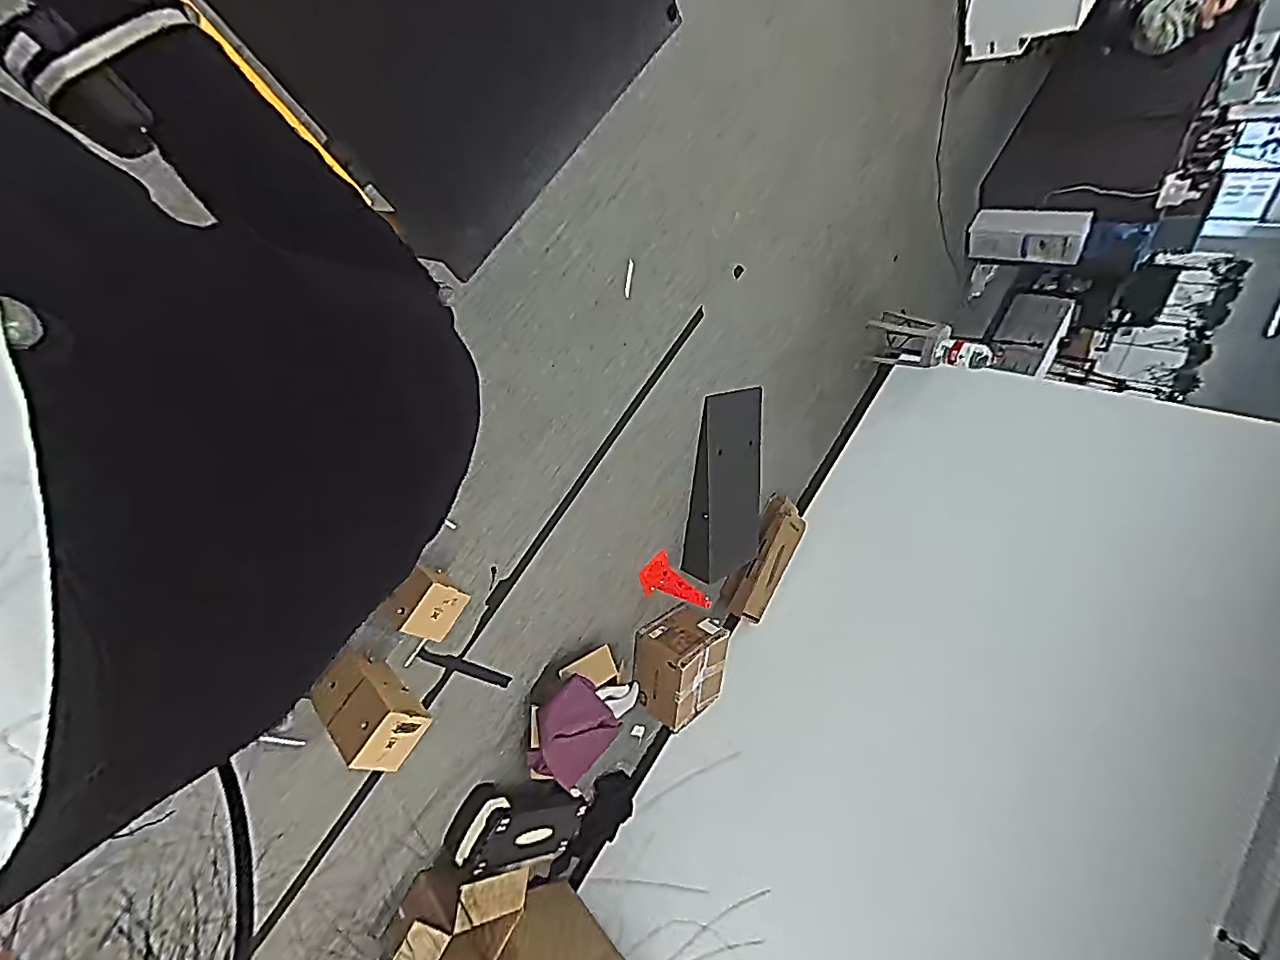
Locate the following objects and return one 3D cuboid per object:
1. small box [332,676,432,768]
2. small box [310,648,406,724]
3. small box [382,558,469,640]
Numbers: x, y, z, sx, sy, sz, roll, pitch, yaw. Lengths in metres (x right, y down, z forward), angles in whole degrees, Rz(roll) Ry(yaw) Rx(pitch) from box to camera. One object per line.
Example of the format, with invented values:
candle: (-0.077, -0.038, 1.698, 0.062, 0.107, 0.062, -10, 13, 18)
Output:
small box: (-0.752, 0.698, 1.567, 0.179, 0.176, 0.168, -54, 141, -11)
small box: (-0.873, 0.645, 1.668, 0.168, 0.176, 0.179, -54, 140, -12)
small box: (-0.690, 0.378, 1.725, 0.179, 0.176, 0.168, -57, 142, -9)
